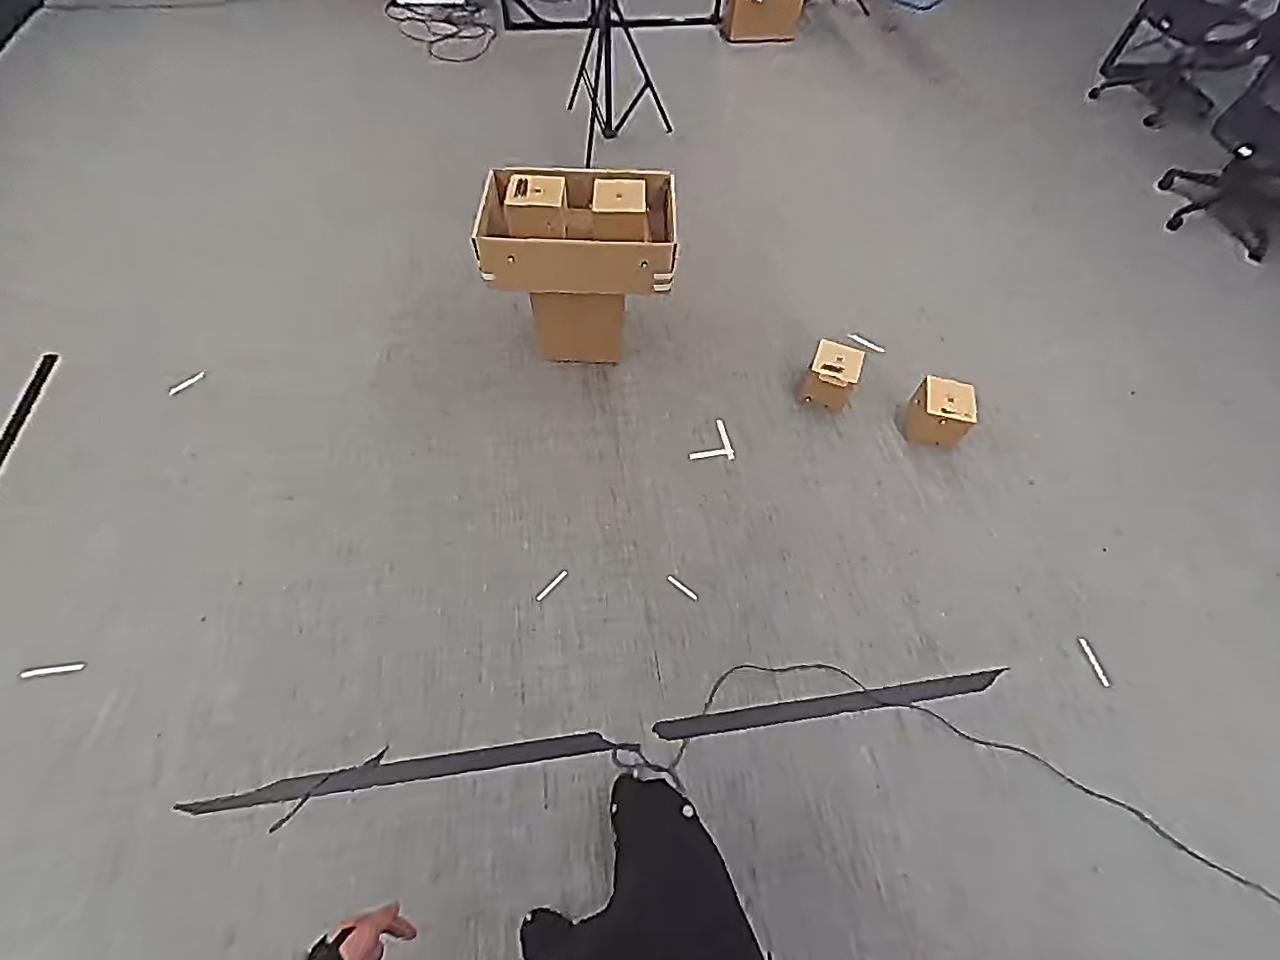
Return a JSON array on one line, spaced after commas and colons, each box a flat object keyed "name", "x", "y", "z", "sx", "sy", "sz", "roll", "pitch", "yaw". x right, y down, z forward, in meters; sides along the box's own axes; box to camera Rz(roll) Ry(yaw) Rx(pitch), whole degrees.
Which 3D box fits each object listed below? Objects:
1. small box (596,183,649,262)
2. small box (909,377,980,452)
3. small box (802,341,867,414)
[{"name": "small box", "x": -0.056, "y": -0.842, "z": 1.768, "sx": 0.168, "sy": 0.176, "sz": 0.179, "roll": 0, "pitch": 57, "yaw": 0}, {"name": "small box", "x": 1.076, "y": -0.231, "z": 1.926, "sx": 0.168, "sy": 0.176, "sz": 0.179, "roll": 14, "pitch": 59, "yaw": 7}, {"name": "small box", "x": 0.715, "y": -0.374, "z": 2.000, "sx": 0.168, "sy": 0.176, "sz": 0.179, "roll": 20, "pitch": 60, "yaw": 10}]
